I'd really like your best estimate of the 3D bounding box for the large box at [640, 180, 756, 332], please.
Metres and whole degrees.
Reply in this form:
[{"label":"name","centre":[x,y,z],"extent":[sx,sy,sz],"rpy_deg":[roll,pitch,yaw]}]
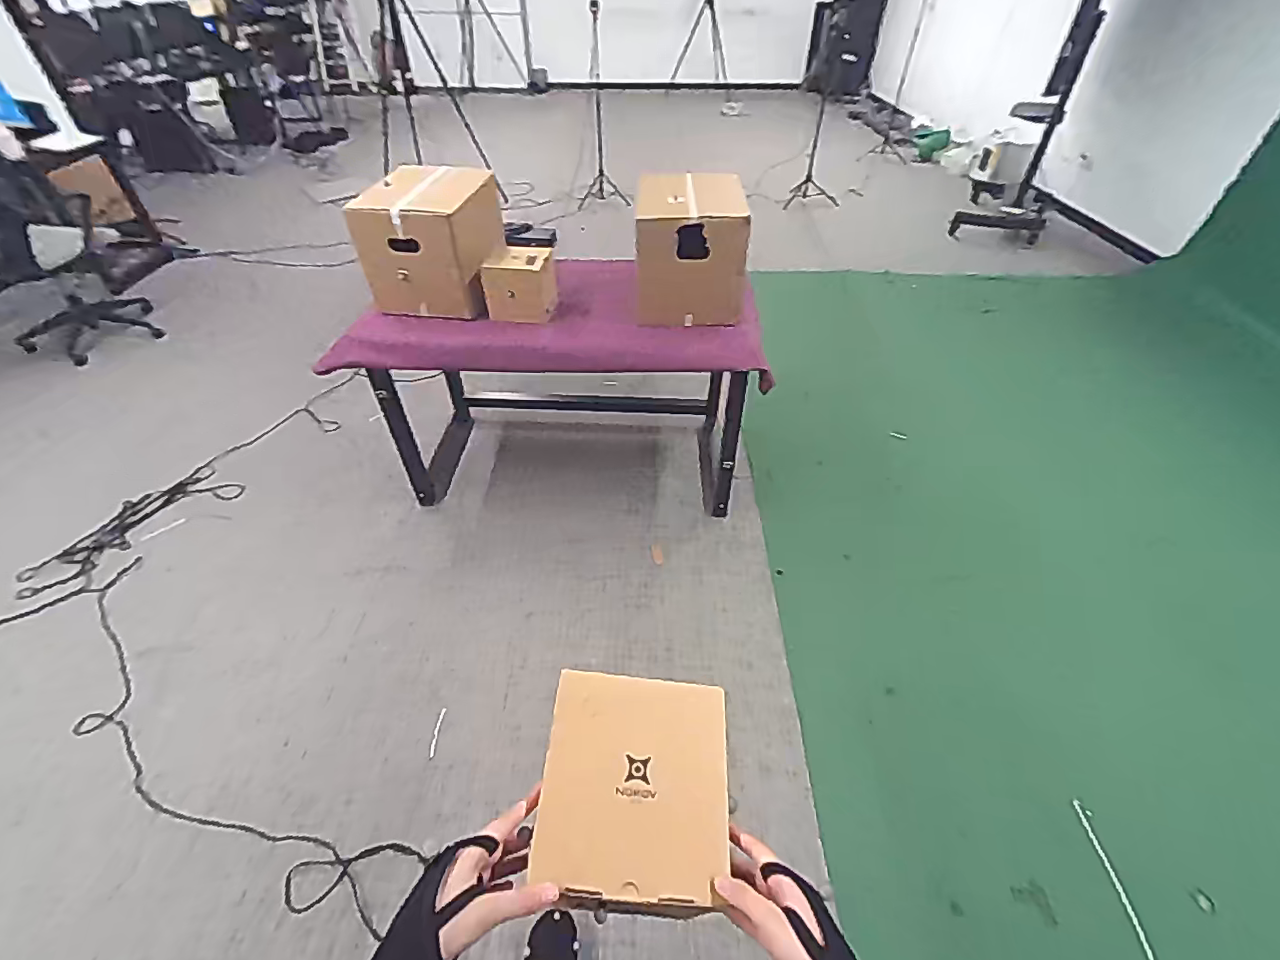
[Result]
[{"label":"large box","centre":[0.159,-0.696,1.668],"extent":[0.320,0.320,0.408],"rpy_deg":[0,44,3]}]
